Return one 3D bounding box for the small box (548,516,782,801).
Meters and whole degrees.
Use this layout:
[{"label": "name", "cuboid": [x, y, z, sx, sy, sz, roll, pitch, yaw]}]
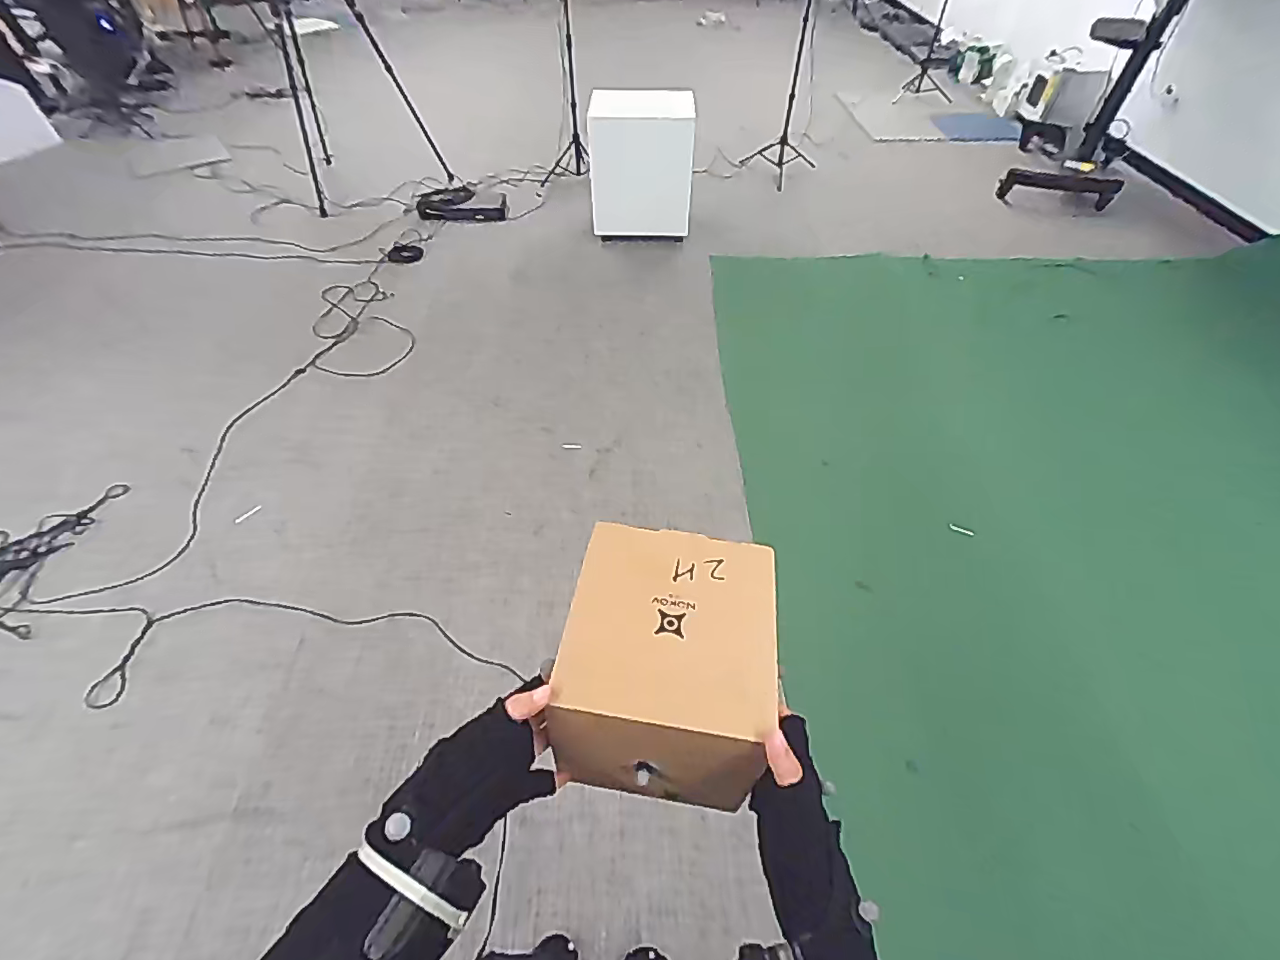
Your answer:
[{"label": "small box", "cuboid": [0.027, 0.160, 0.483, 0.168, 0.176, 0.179, 8, 44, 5]}]
